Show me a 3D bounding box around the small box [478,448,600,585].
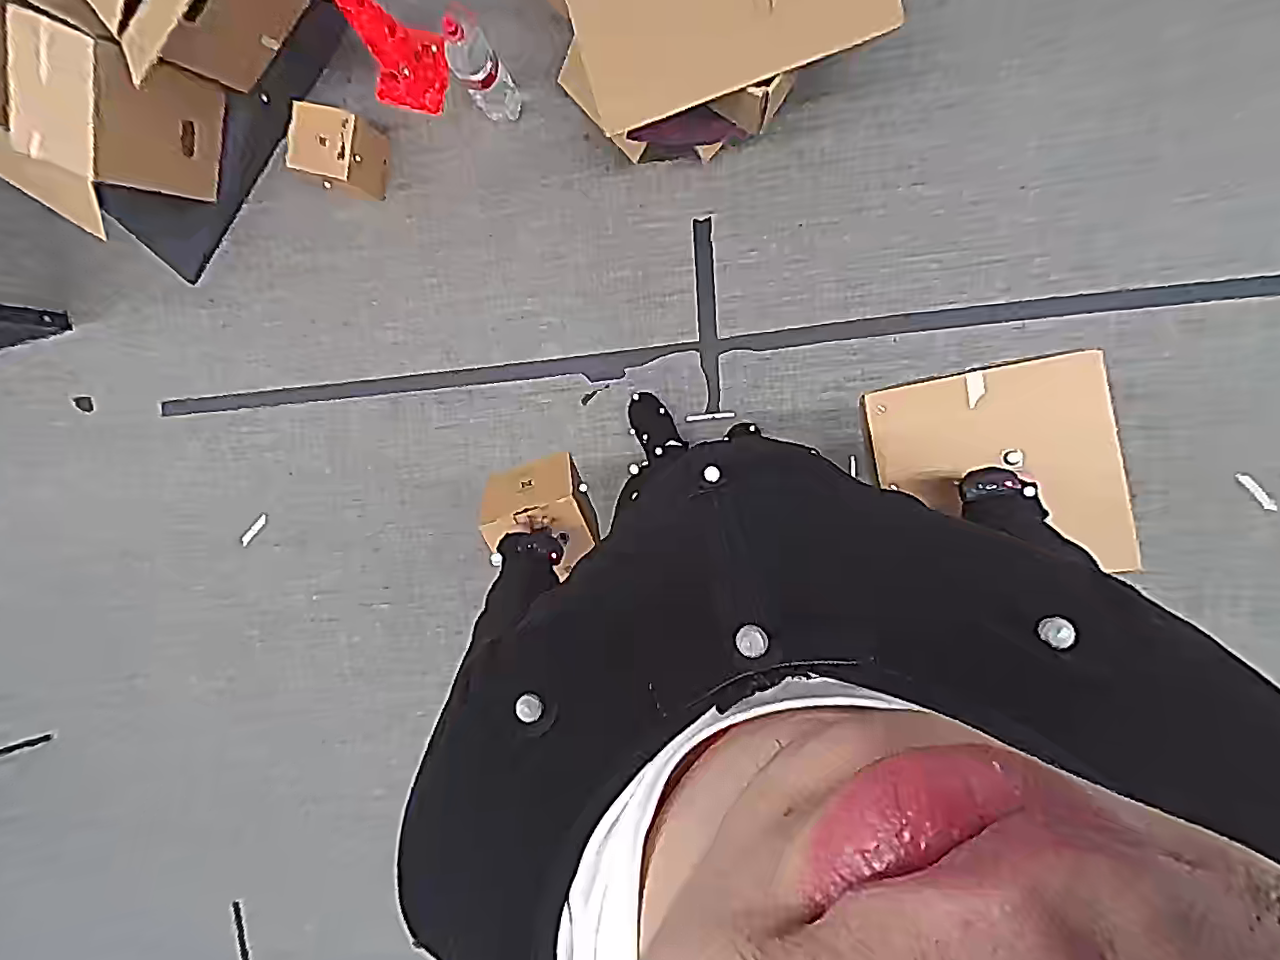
[{"bbox_3d":[-0.180,0.072,0.998,0.168,0.179,0.176,-19,120,0],"label":"small box"}]
